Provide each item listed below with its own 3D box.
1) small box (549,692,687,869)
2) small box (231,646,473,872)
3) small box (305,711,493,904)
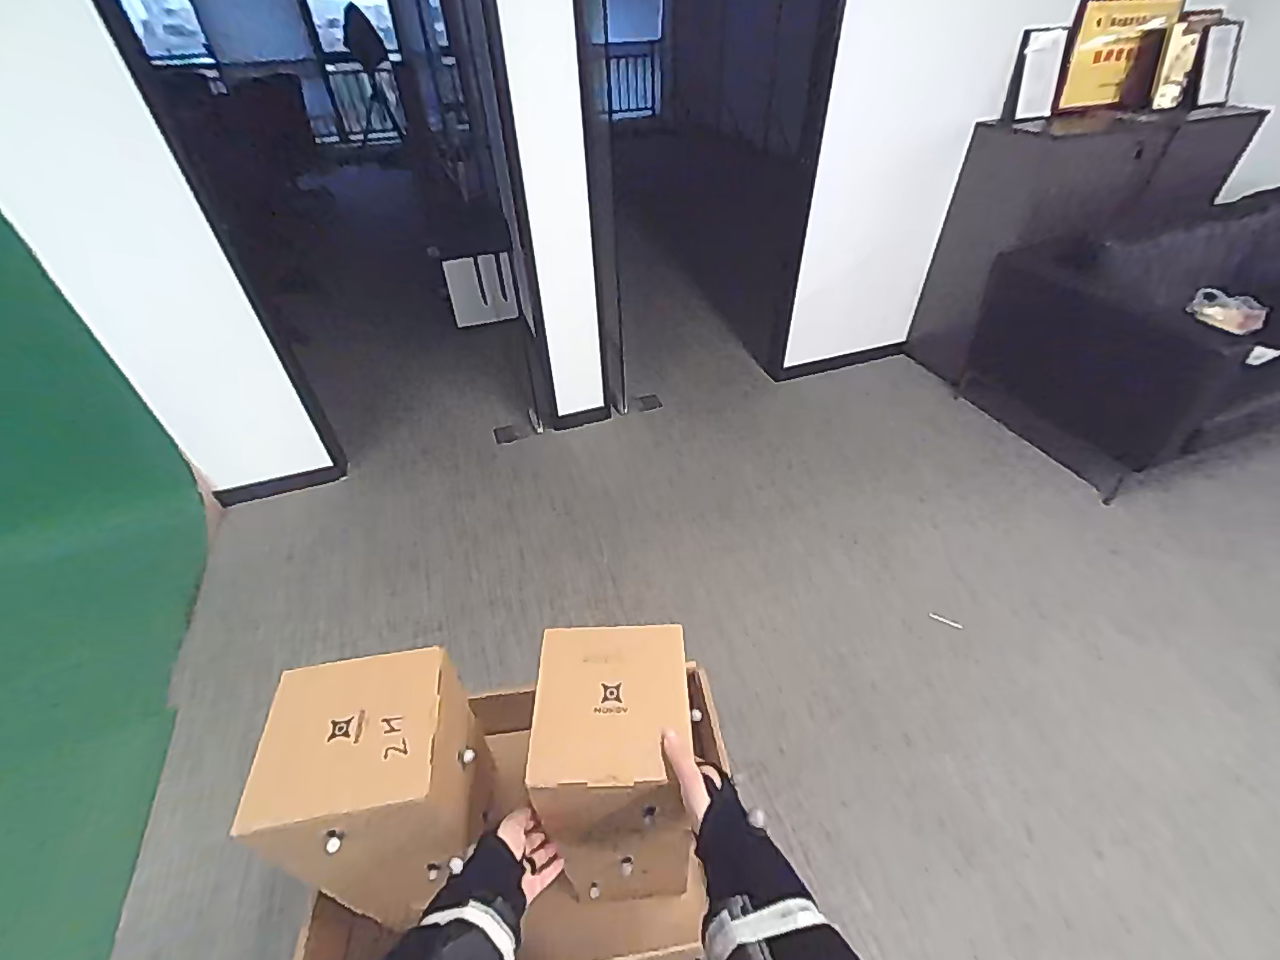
[{"bbox_3d":[-0.025,0.414,0.741,0.168,0.176,0.179,-2,42,-1],"label":"small box"},{"bbox_3d":[-0.299,0.315,0.611,0.179,0.176,0.168,-6,42,-8],"label":"small box"},{"bbox_3d":[-0.302,0.437,0.722,0.179,0.176,0.168,-5,42,-8],"label":"small box"}]
